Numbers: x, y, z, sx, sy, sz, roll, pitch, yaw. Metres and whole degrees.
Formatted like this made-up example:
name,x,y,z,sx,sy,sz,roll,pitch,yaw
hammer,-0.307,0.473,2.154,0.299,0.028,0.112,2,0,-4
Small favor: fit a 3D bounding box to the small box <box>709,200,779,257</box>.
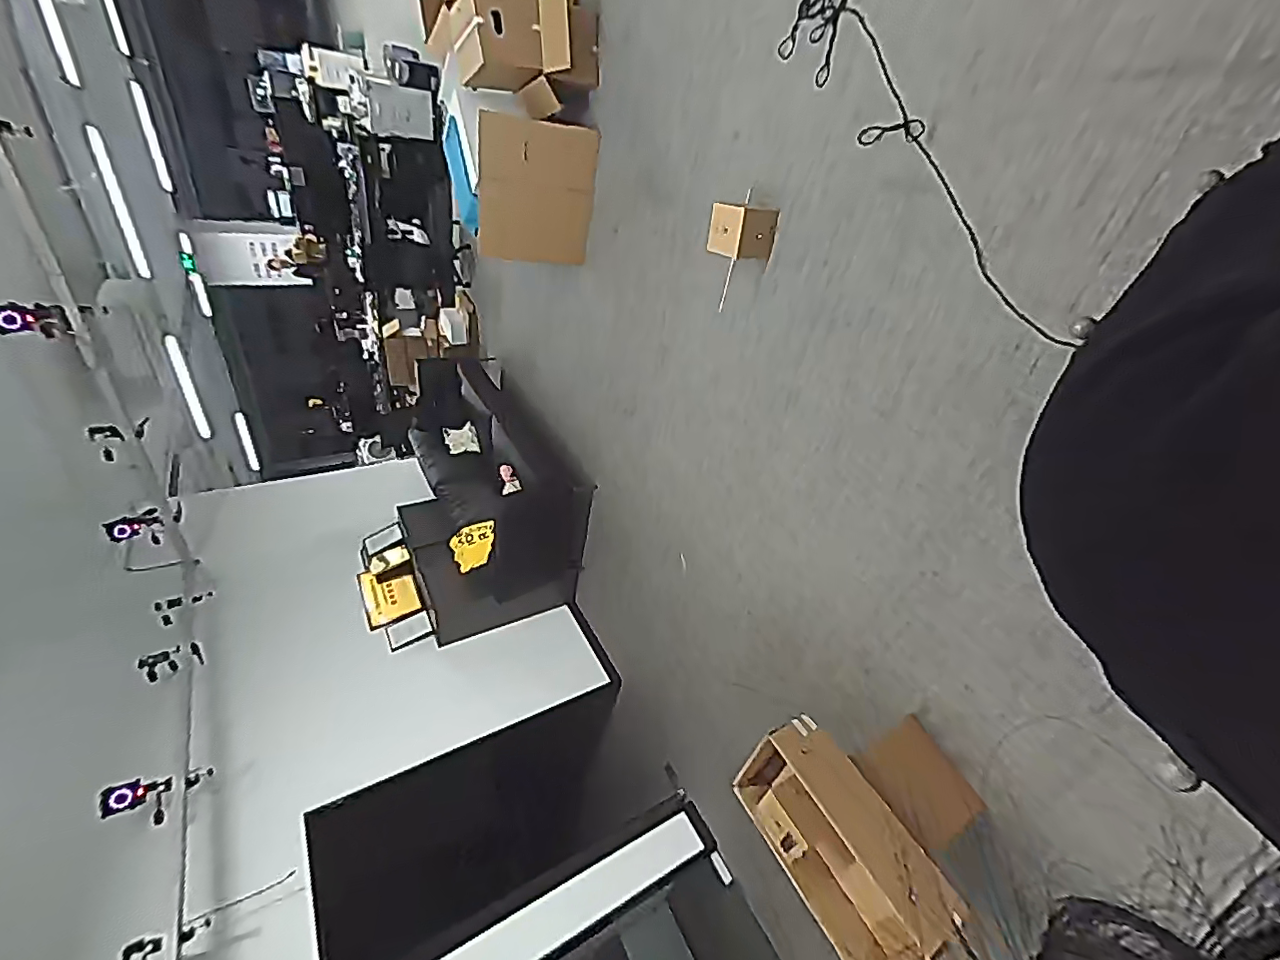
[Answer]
name,x,y,z,sx,sy,sz,roll,pitch,yaw
small box,0.381,-0.925,1.981,0.179,0.176,0.168,44,137,45
